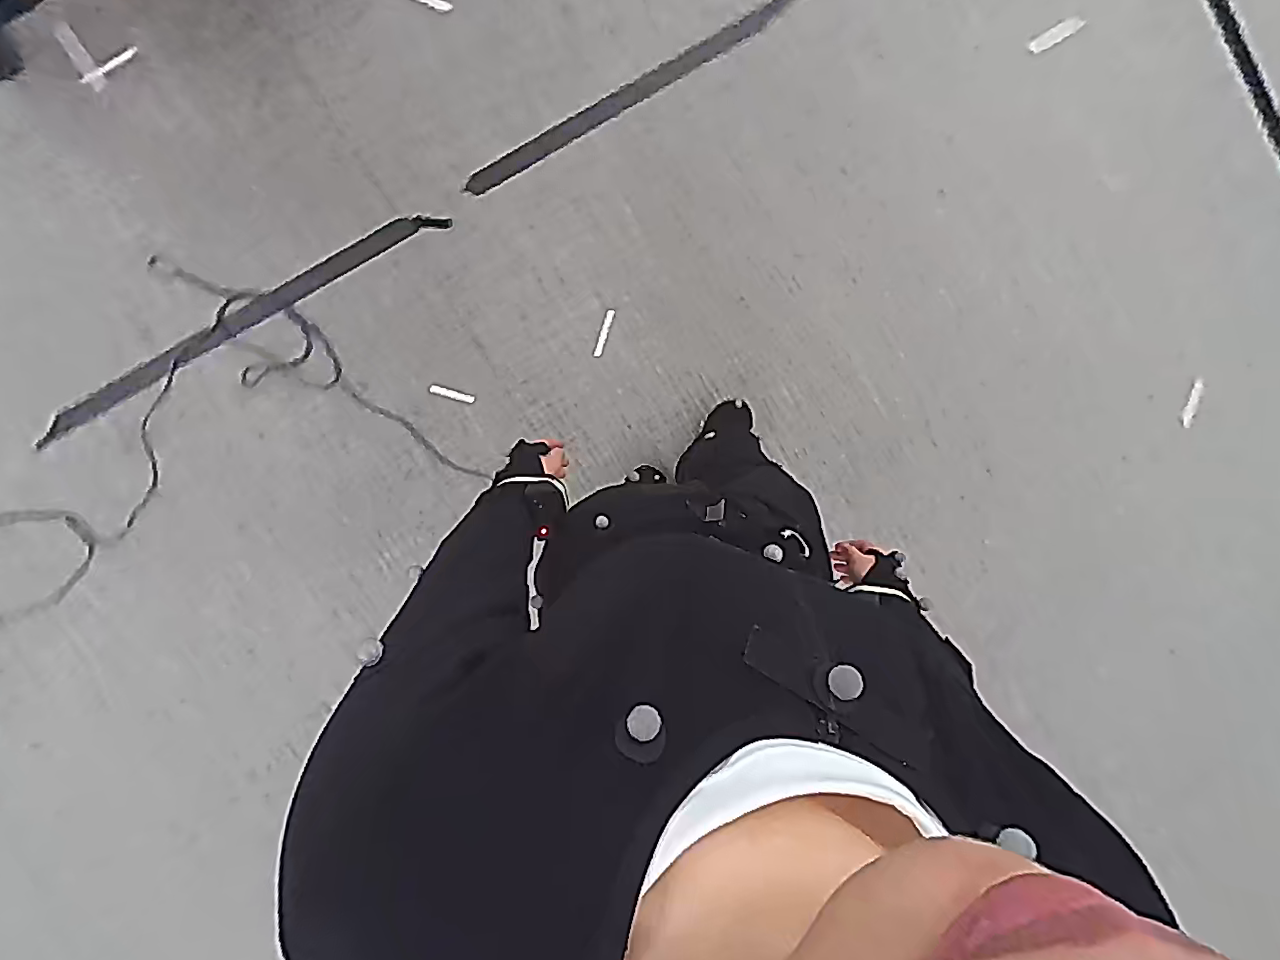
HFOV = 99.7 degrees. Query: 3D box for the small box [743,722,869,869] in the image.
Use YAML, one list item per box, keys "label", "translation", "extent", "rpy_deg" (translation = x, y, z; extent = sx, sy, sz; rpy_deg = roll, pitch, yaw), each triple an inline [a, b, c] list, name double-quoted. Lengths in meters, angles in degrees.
- label: "small box"
  translation: [0.348, 0.666, 1.163]
  extent: [0.168, 0.176, 0.179]
  rpy_deg: [-30, 96, -3]
